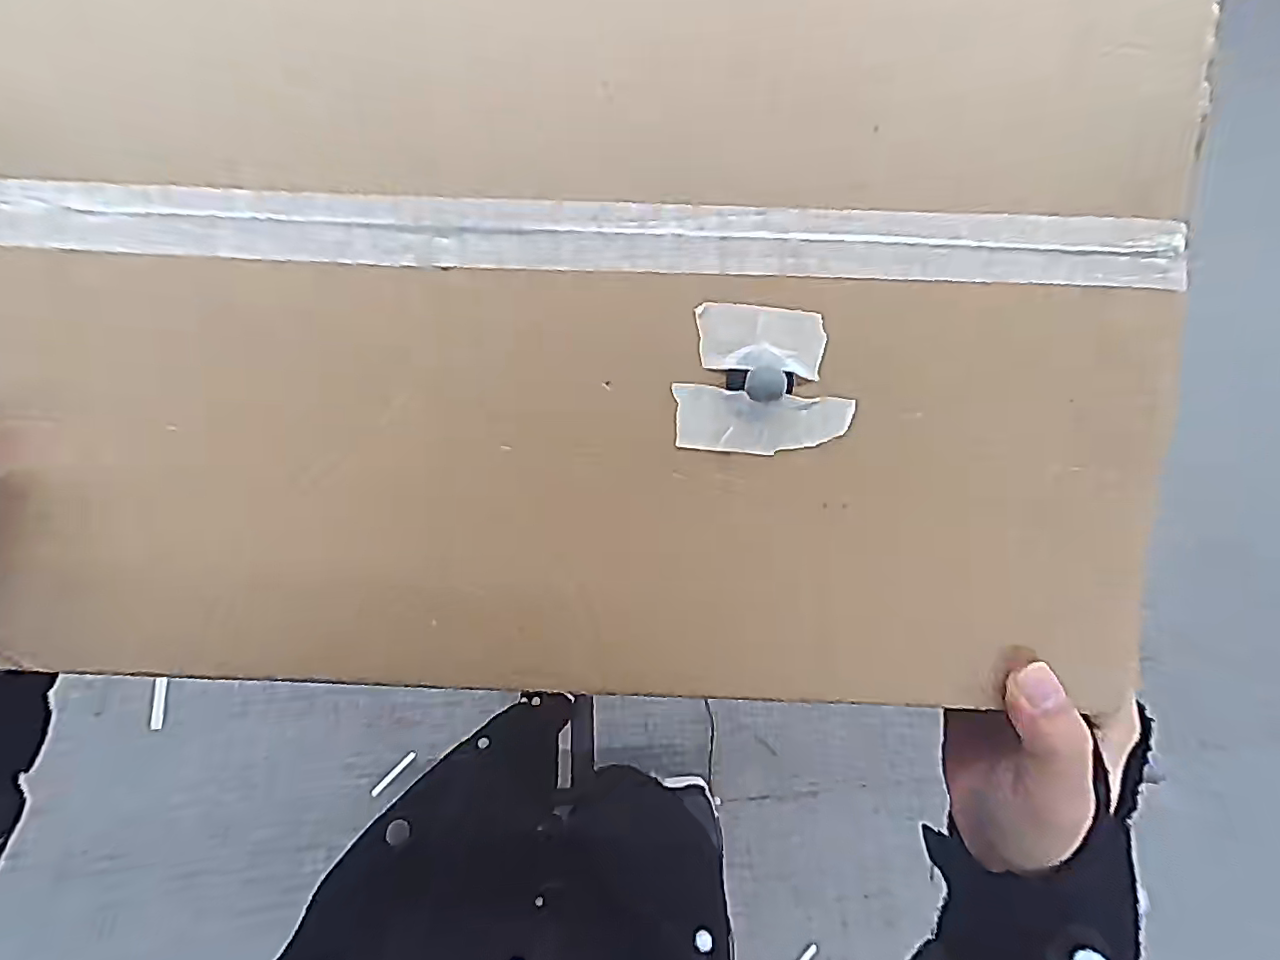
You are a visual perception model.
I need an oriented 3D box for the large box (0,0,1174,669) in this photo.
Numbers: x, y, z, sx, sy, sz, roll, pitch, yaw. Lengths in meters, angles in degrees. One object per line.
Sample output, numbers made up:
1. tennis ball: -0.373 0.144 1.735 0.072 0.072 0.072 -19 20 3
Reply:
1. large box: -0.025 -0.097 0.337 0.408 0.320 0.320 2 96 -1
